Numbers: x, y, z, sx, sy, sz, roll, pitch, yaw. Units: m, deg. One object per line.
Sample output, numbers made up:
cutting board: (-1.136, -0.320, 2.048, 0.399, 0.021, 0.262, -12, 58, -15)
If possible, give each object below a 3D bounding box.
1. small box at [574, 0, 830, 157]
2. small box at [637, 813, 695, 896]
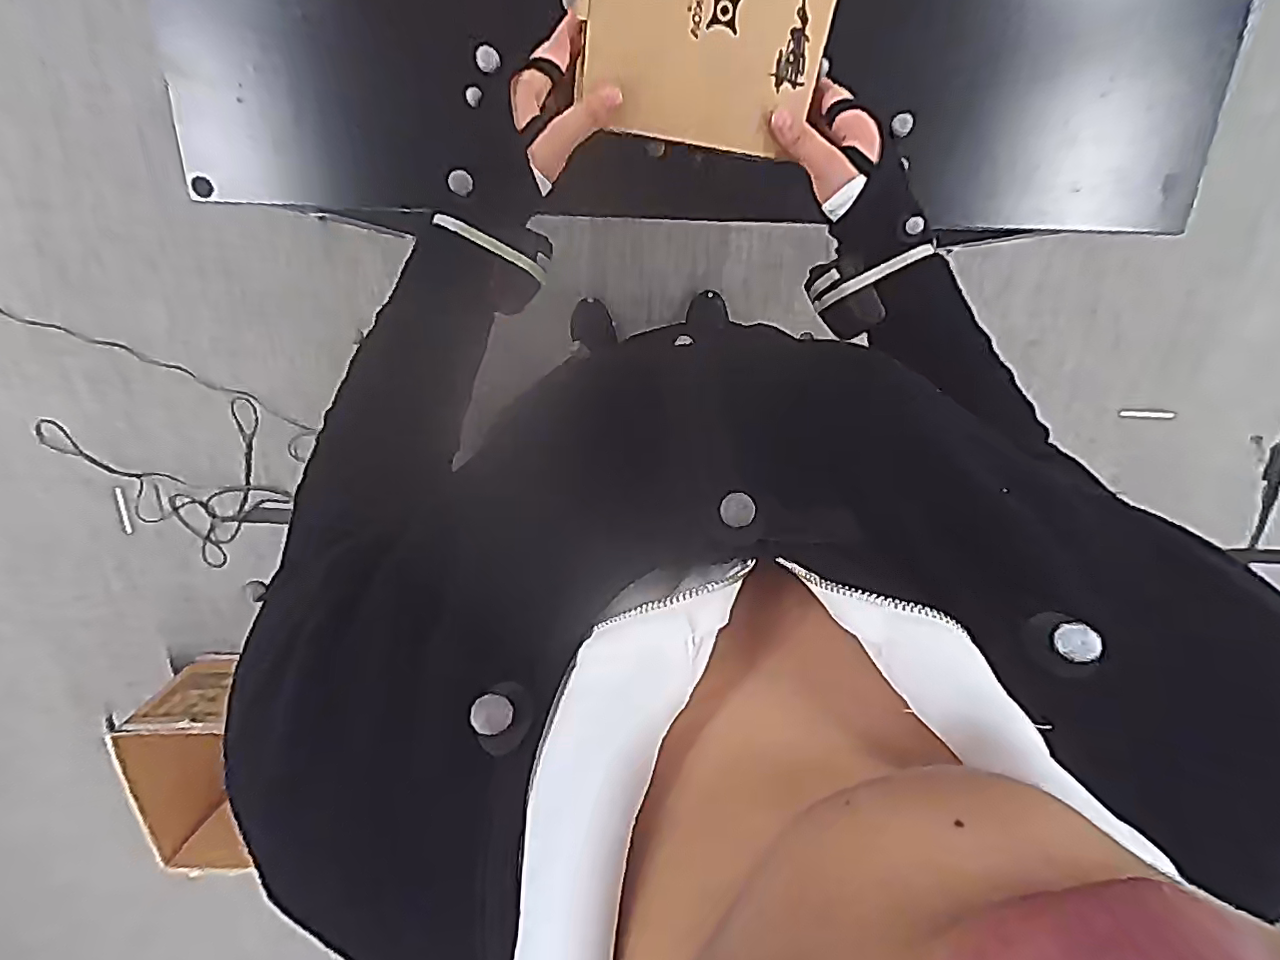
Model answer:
small box: (0.040, -0.376, 0.449, 0.179, 0.176, 0.168, 4, 121, -10)
small box: (0.083, 1.274, 1.847, 0.179, 0.176, 0.168, 6, 106, -2)
